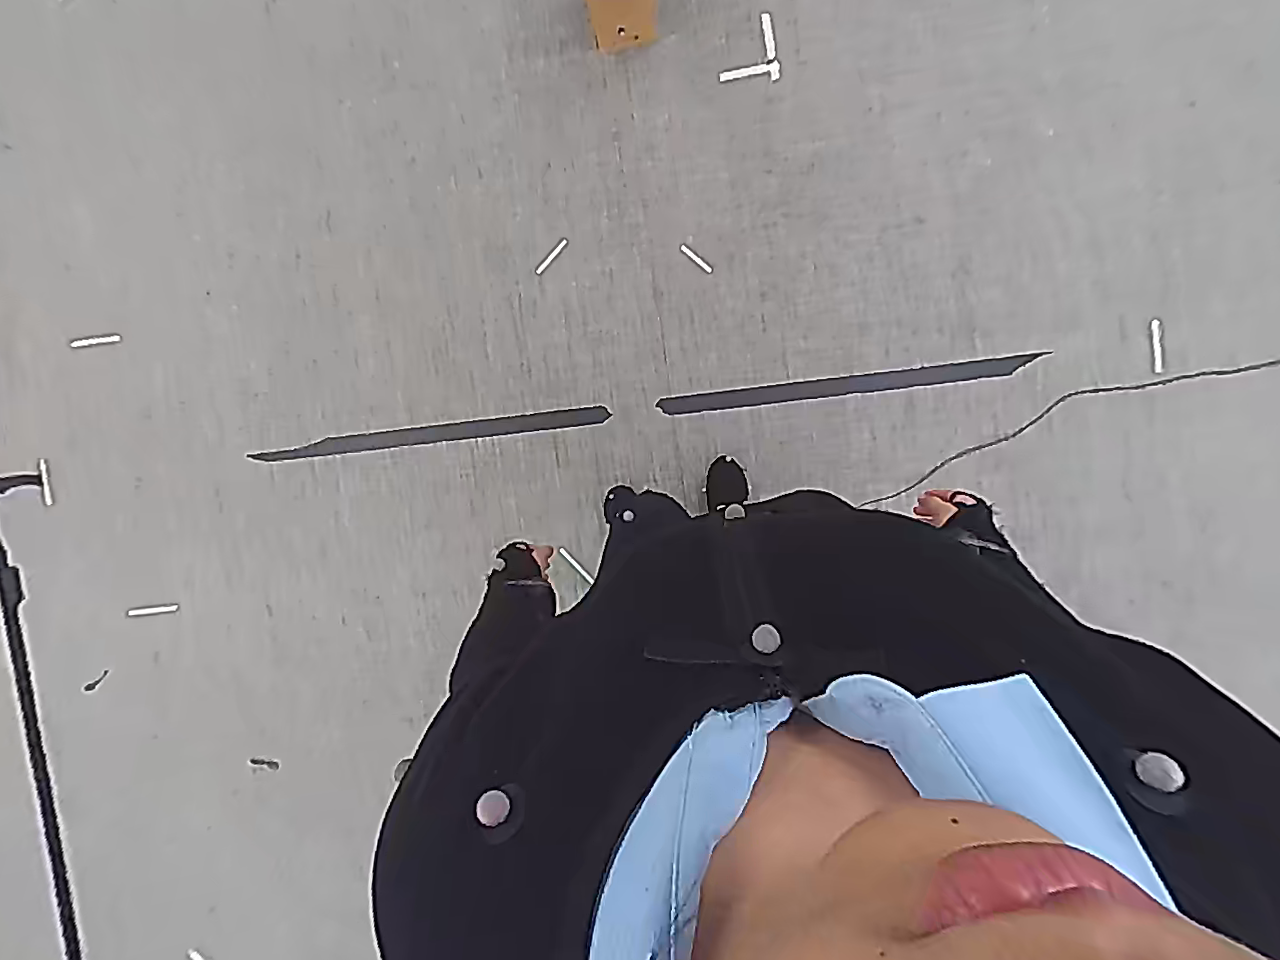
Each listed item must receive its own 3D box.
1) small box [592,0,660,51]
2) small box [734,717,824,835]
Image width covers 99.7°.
[{"bbox_3d":[-0.042,-1.250,1.374,0.168,0.176,0.179,-9,92,3],"label":"small box"},{"bbox_3d":[0.310,0.666,1.231,0.168,0.176,0.179,-5,91,3],"label":"small box"}]
